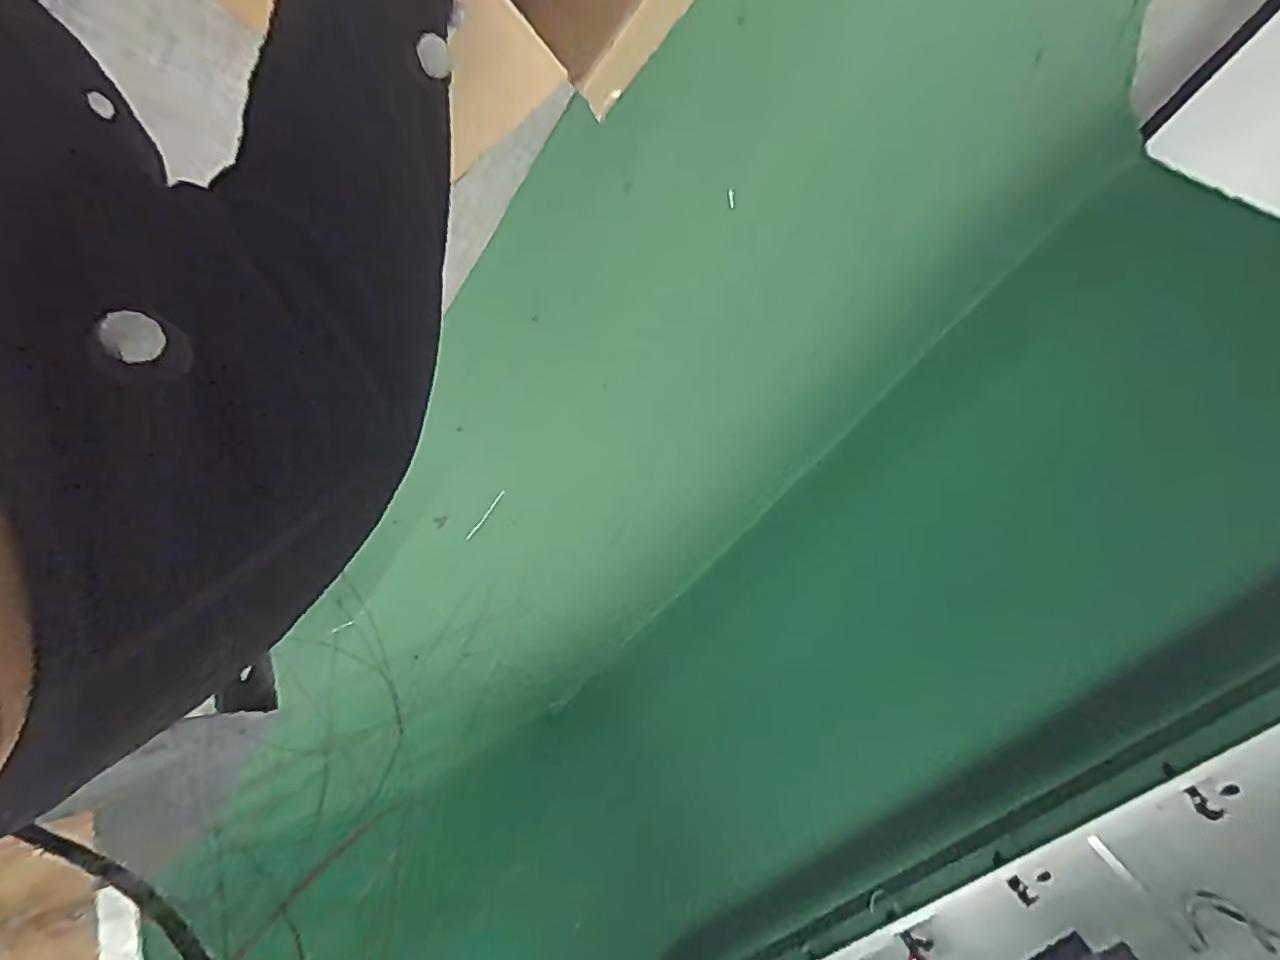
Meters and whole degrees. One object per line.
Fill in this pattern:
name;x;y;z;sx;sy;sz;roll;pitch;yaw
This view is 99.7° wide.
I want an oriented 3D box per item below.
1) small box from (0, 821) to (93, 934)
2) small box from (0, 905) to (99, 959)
small box;-1.259;0.846;1.109;0.179;0.176;0.168;-49;149;21
small box;-1.172;0.963;1.033;0.179;0.176;0.168;-48;149;20
